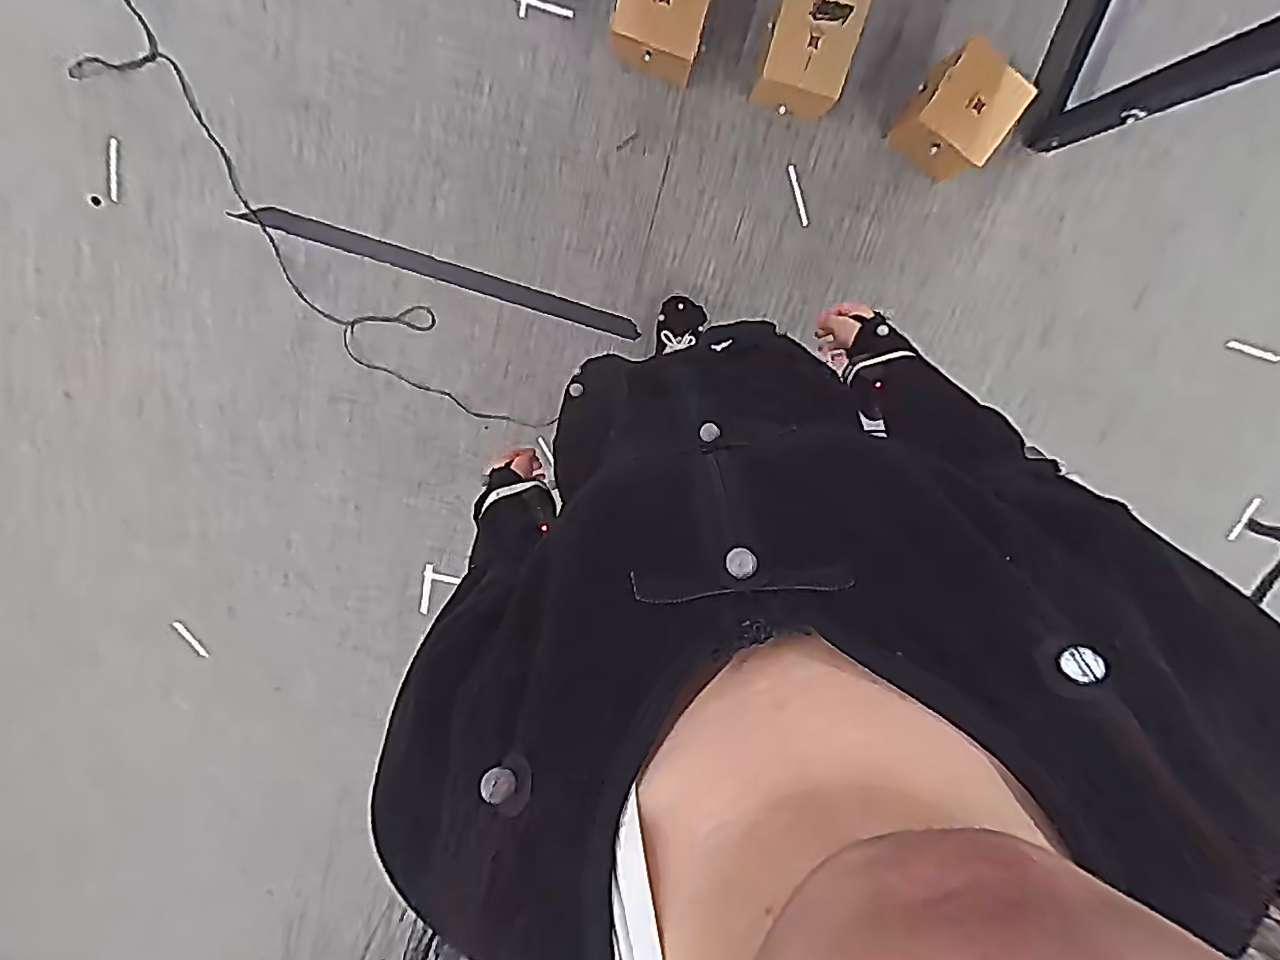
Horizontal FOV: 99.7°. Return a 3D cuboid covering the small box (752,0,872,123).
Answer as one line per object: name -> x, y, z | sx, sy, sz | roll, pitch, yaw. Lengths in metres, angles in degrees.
small box -> 0.348, -0.891, 1.134 | 0.168, 0.176, 0.179 | 14, 109, -4

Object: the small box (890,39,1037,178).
small box -> 0.687, -0.785, 1.169 | 0.179, 0.176, 0.168 | 32, 107, -8
